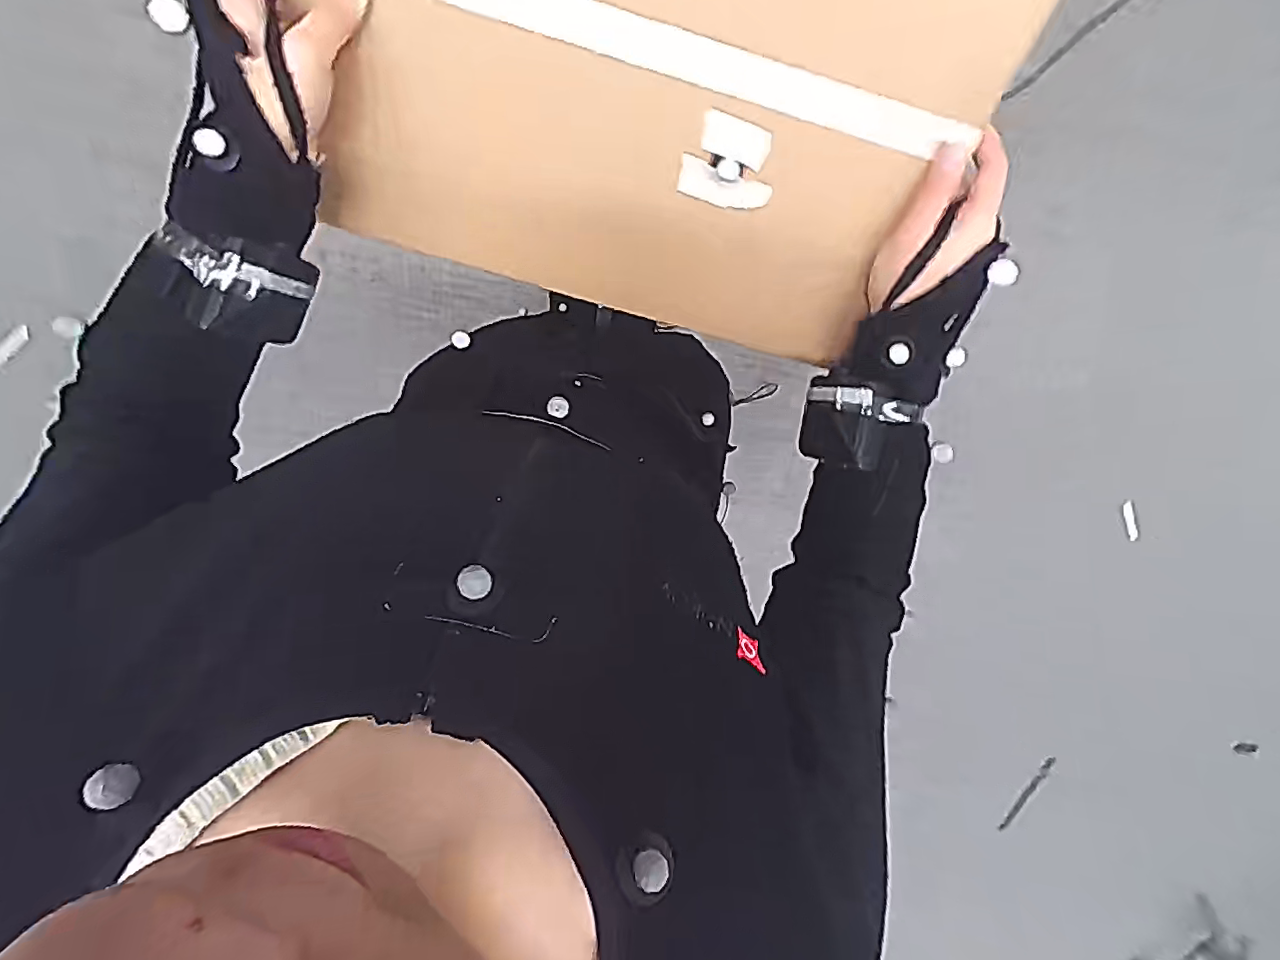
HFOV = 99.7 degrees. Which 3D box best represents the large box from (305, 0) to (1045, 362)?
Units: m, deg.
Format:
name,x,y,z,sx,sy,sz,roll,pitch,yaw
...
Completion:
name,x,y,z,sx,sy,sz,roll,pitch,yaw
large box,0.014,-0.343,0.429,0.408,0.320,0.320,13,131,-7
